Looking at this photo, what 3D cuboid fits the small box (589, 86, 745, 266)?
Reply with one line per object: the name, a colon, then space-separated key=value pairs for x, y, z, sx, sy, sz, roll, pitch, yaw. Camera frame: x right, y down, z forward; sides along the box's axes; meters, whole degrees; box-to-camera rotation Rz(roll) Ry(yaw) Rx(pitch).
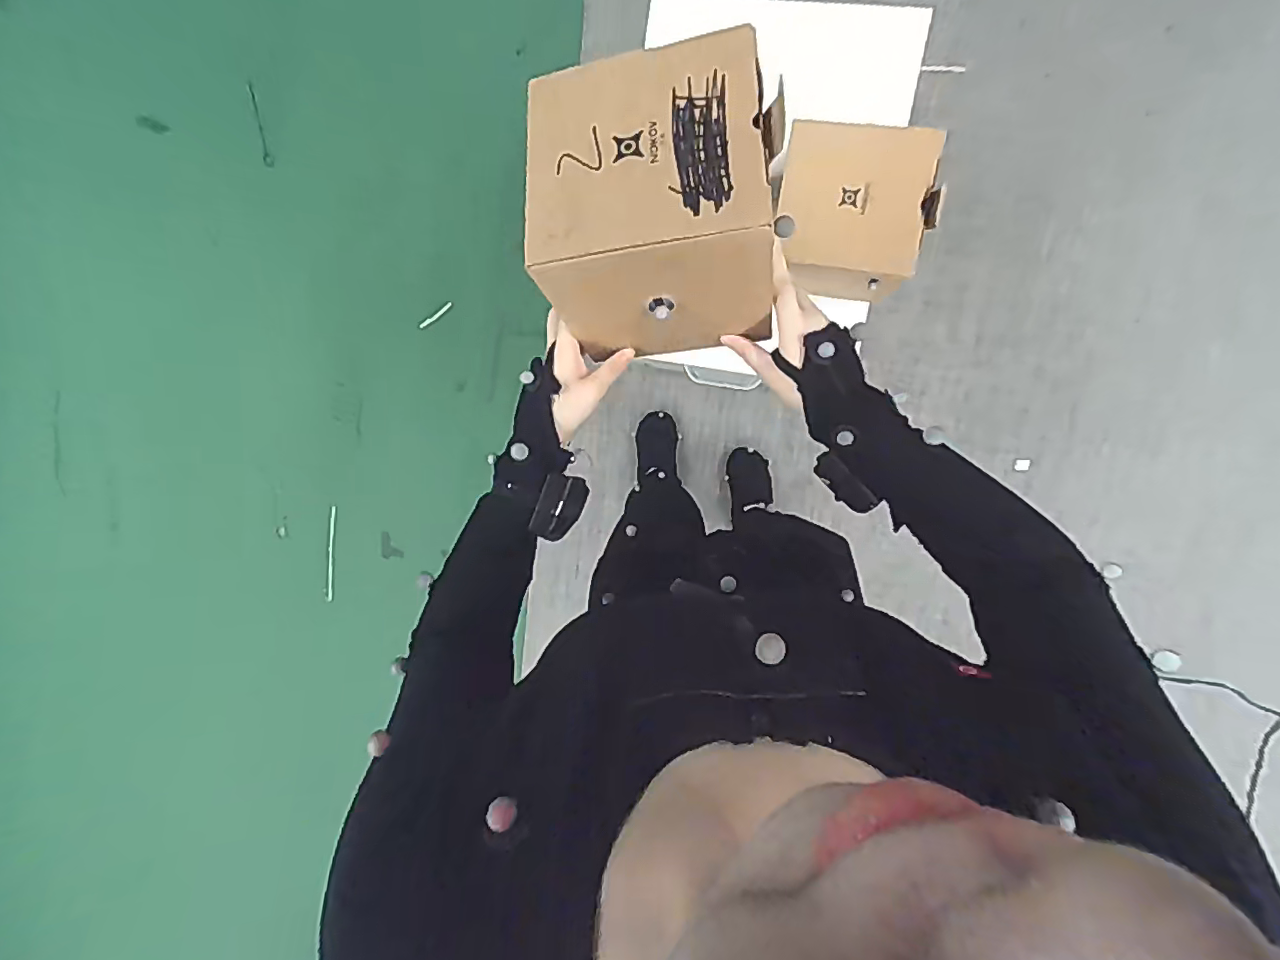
small box: x=0.043 y=-0.404 z=0.745 sx=0.179 sy=0.176 sz=0.168 roll=9 pitch=100 yaw=8
